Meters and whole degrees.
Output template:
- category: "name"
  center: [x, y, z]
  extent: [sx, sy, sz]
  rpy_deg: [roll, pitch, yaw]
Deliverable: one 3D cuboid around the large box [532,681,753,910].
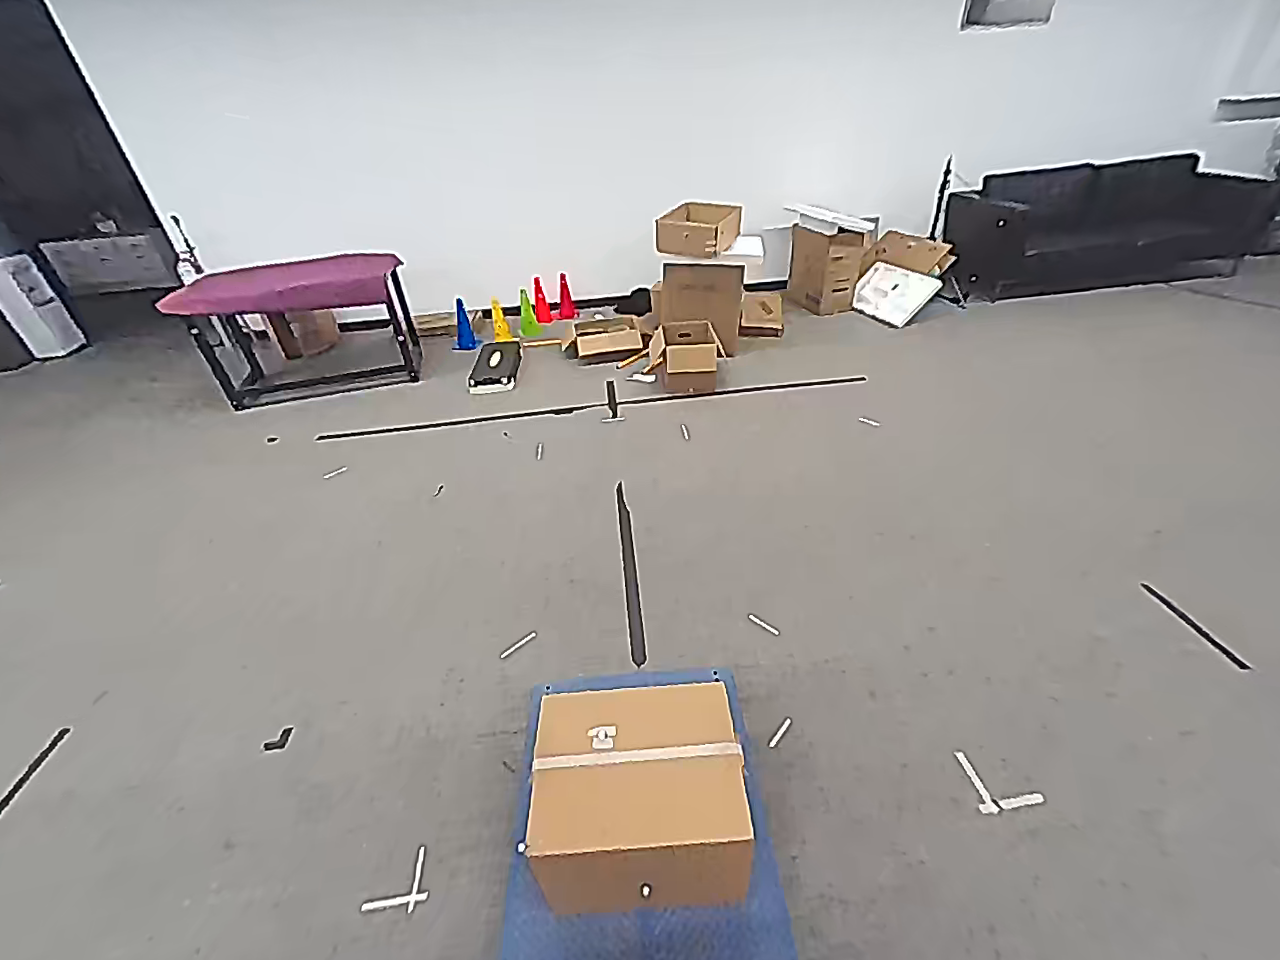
- category: "large box"
  center: [0.009, 0.677, 1.168]
  extent: [0.408, 0.320, 0.320]
  rpy_deg: [-6, 35, 0]
